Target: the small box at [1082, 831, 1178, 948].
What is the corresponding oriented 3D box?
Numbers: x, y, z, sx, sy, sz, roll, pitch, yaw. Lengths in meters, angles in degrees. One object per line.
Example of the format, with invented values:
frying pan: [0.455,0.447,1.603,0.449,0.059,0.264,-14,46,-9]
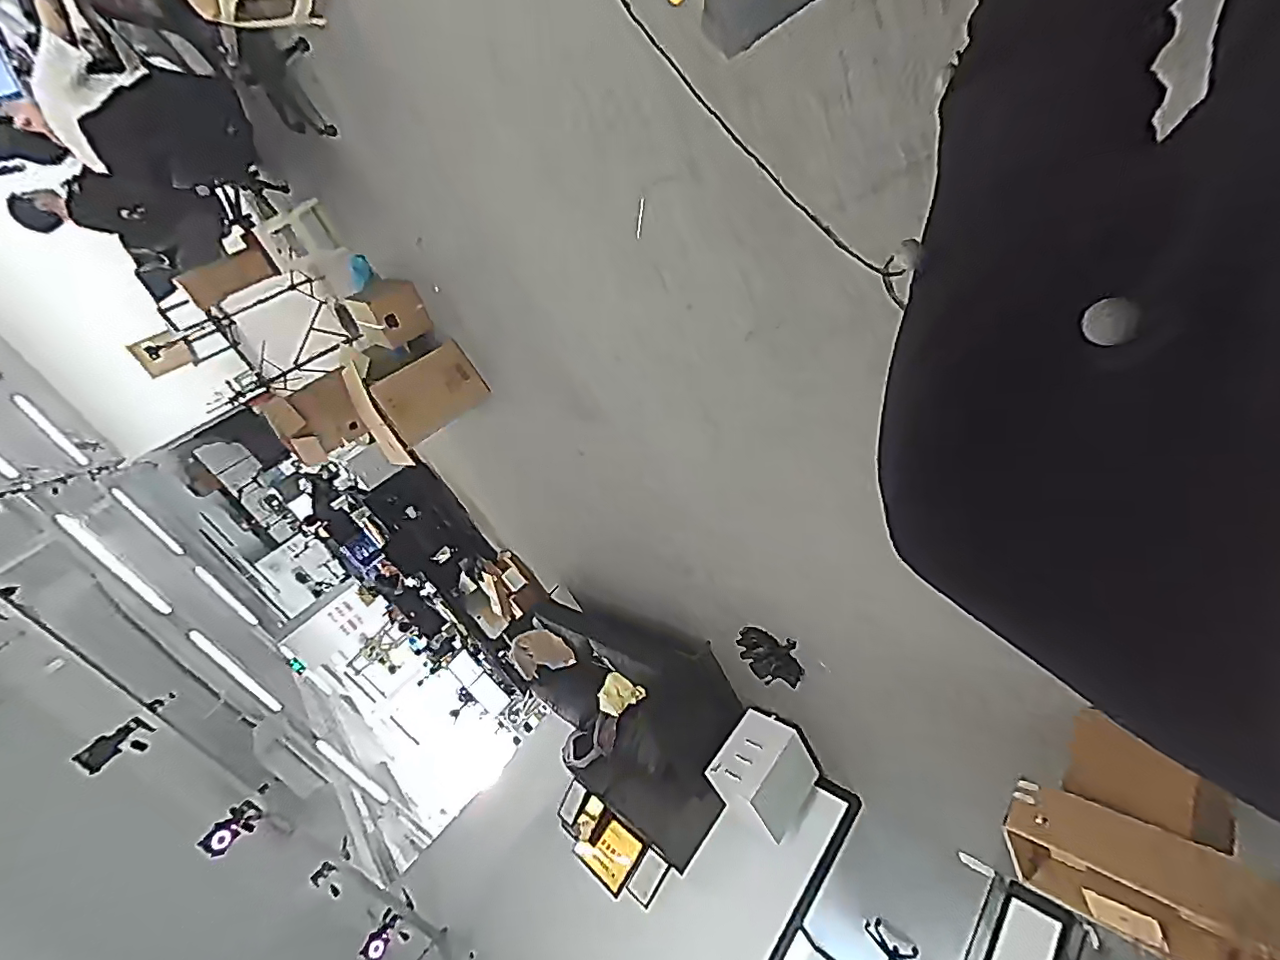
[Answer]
small box: [1.409,1.164,1.550,0.168,0.176,0.179,-5,123,54]
